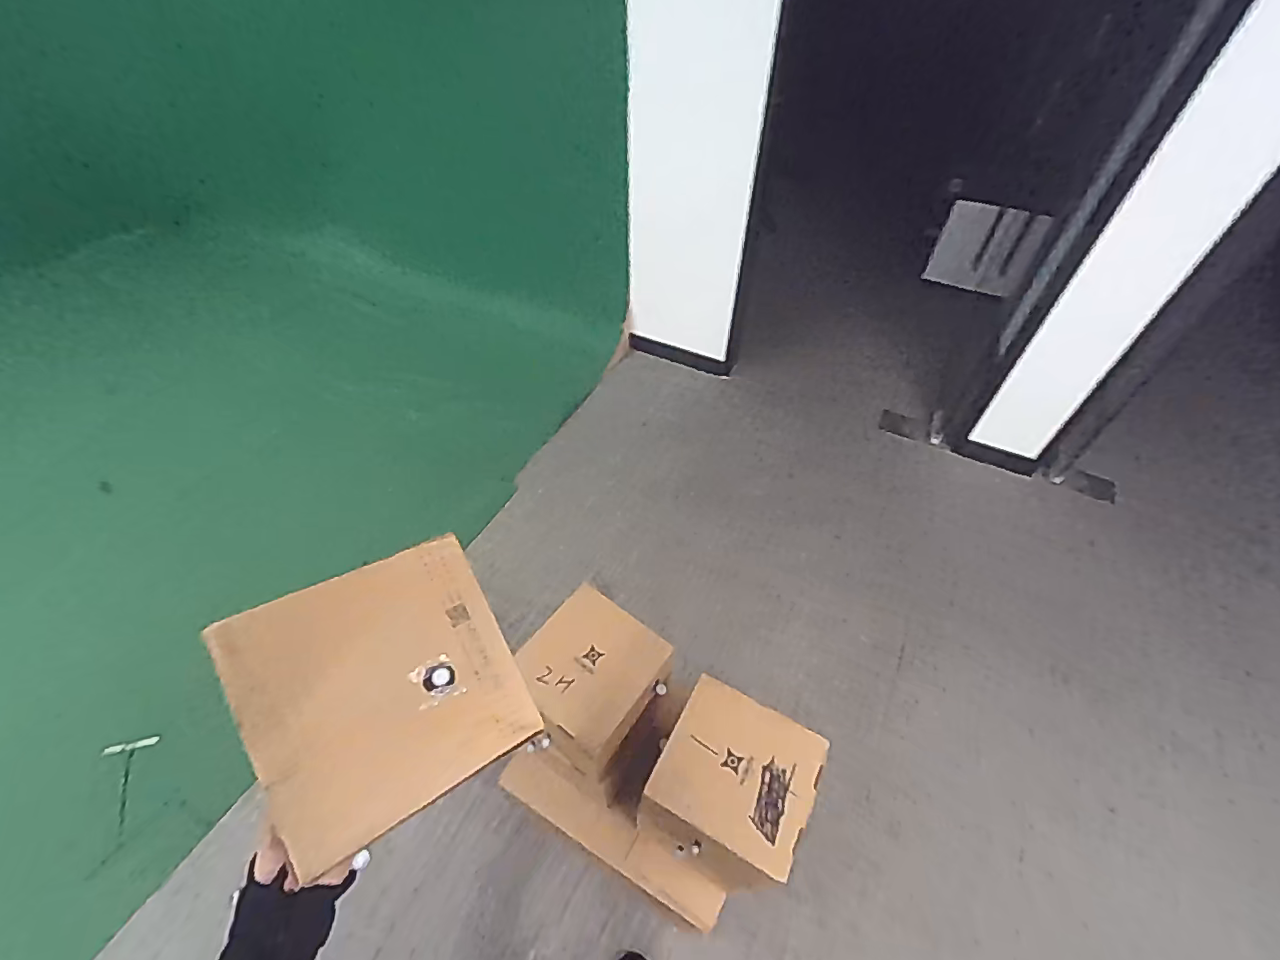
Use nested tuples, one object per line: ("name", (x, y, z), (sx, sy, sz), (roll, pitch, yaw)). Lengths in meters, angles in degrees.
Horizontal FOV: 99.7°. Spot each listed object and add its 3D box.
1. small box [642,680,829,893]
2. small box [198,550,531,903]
("small box", (0.118, 0.399, 0.702), (0.179, 0.176, 0.168), (23, 52, 20))
("small box", (-0.209, 0.179, 0.434), (0.176, 0.179, 0.168), (-23, 79, -35))
